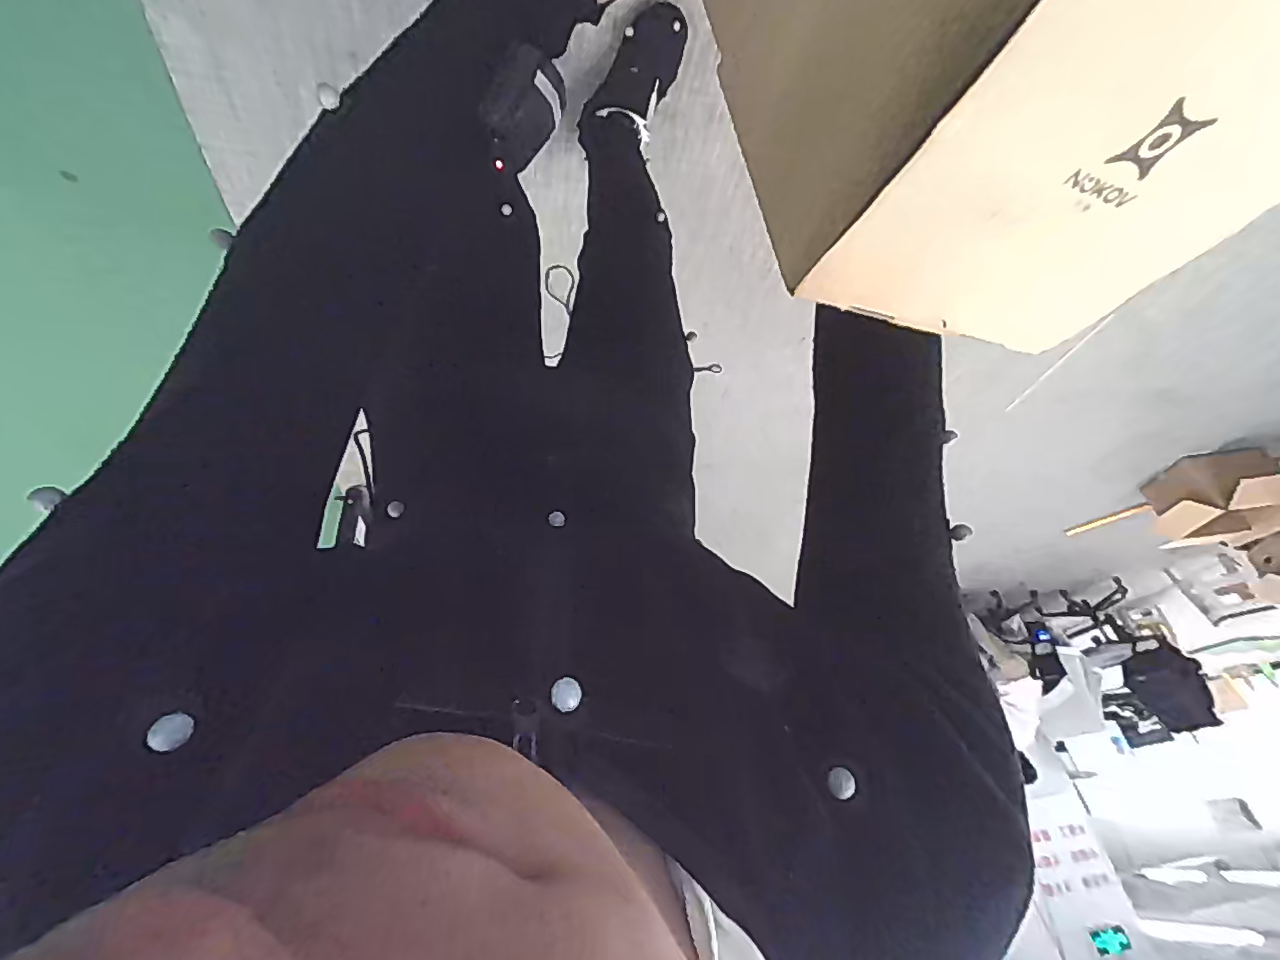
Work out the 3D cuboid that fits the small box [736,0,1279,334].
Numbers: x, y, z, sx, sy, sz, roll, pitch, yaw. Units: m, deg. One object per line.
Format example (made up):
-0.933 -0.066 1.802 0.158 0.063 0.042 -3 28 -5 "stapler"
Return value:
0.155 -0.192 0.221 0.168 0.176 0.179 2 154 -22 "small box"
